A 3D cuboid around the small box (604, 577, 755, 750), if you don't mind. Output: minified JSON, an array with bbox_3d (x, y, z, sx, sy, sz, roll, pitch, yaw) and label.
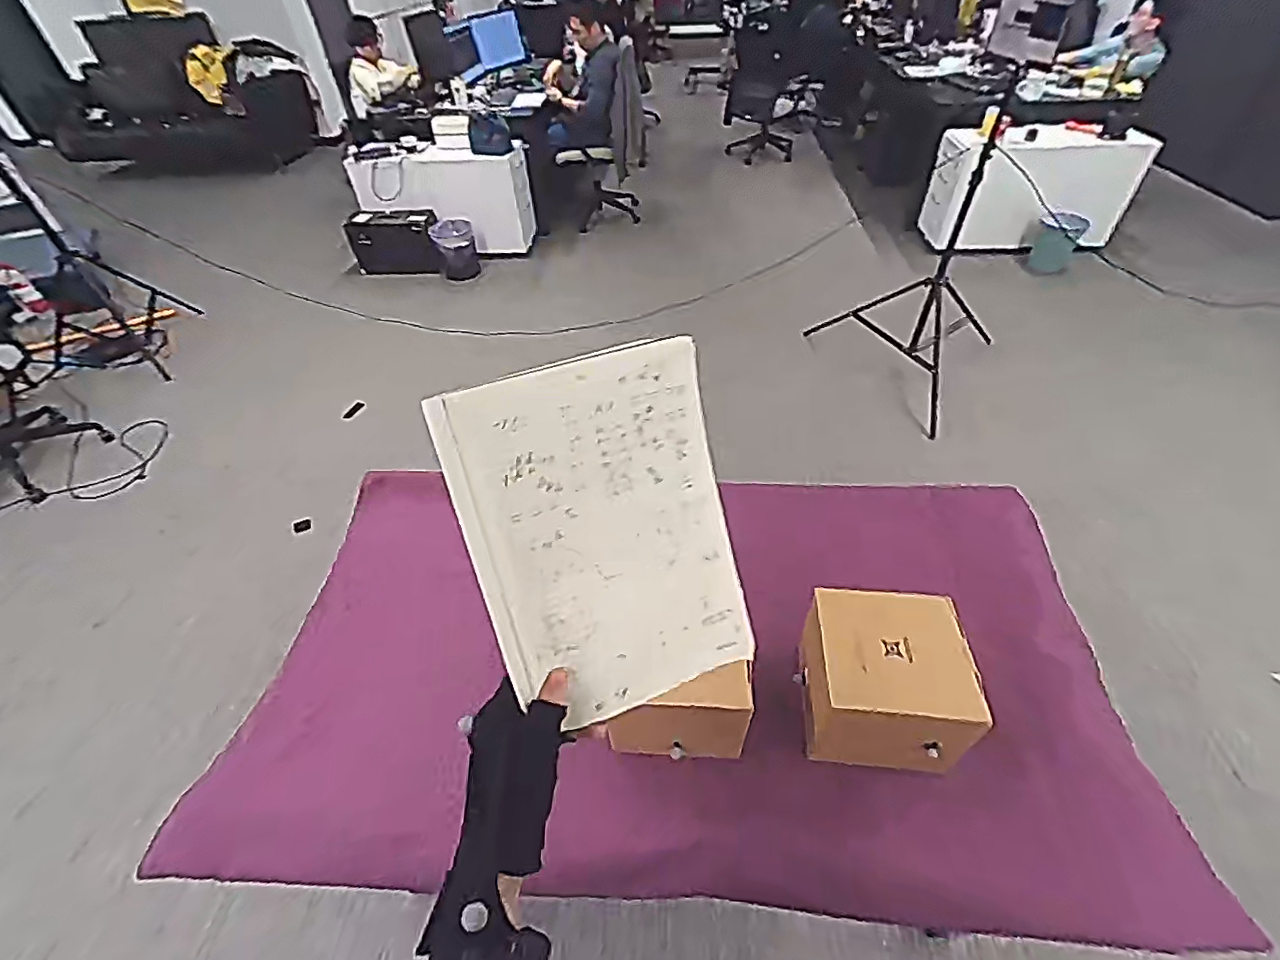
[{"bbox_3d":[0.051,0.249,0.730,0.179,0.176,0.168,1,45,4],"label":"small box"}]

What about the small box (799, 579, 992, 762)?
[{"bbox_3d":[0.316,0.252,0.712,0.179,0.176,0.168,2,44,8],"label":"small box"}]
